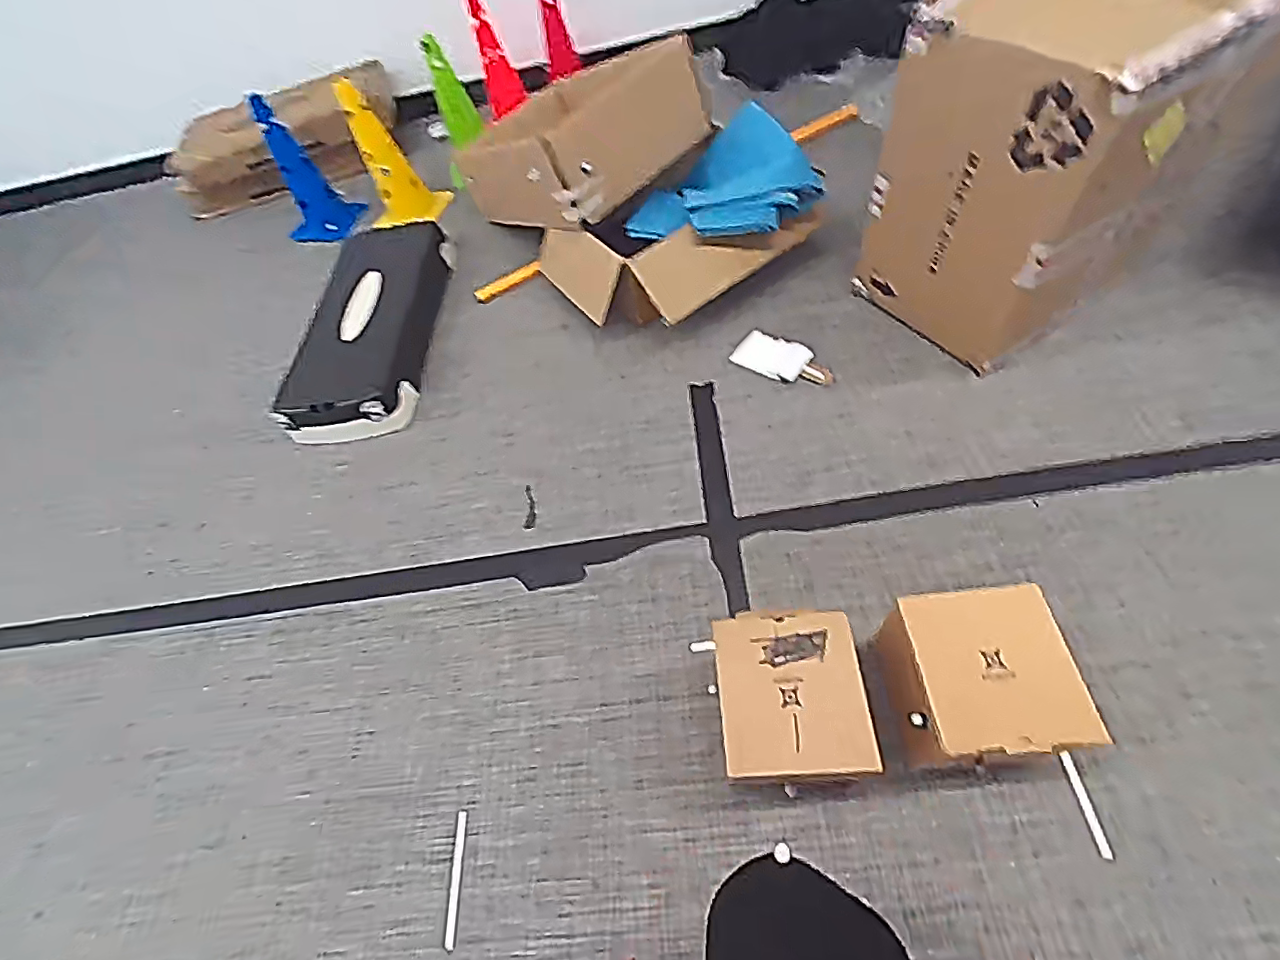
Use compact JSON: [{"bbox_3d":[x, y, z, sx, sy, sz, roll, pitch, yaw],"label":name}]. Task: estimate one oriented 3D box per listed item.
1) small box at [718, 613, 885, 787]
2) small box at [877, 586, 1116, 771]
[{"bbox_3d":[0.188,0.284,0.686,0.168,0.176,0.179,-6,58,7],"label":"small box"},{"bbox_3d":[0.412,0.250,0.669,0.168,0.176,0.179,-7,57,6],"label":"small box"}]
